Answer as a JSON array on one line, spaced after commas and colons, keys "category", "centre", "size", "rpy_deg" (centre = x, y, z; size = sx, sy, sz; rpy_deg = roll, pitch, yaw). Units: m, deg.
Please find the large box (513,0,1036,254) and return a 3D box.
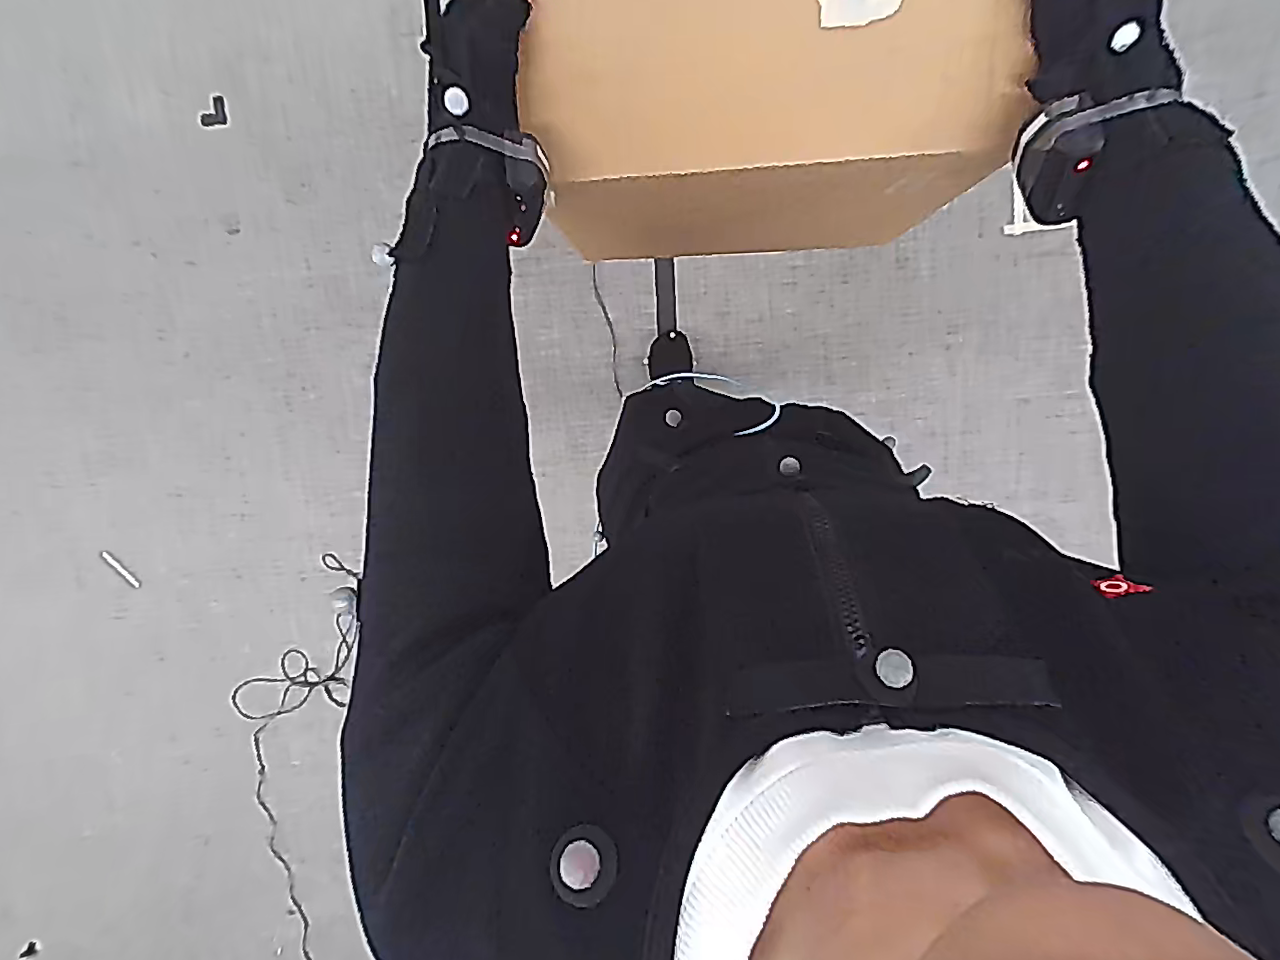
[{"category": "large box", "centre": [0.103, -0.439, 0.552], "size": [0.408, 0.320, 0.320], "rpy_deg": [-2, 101, 4]}]
